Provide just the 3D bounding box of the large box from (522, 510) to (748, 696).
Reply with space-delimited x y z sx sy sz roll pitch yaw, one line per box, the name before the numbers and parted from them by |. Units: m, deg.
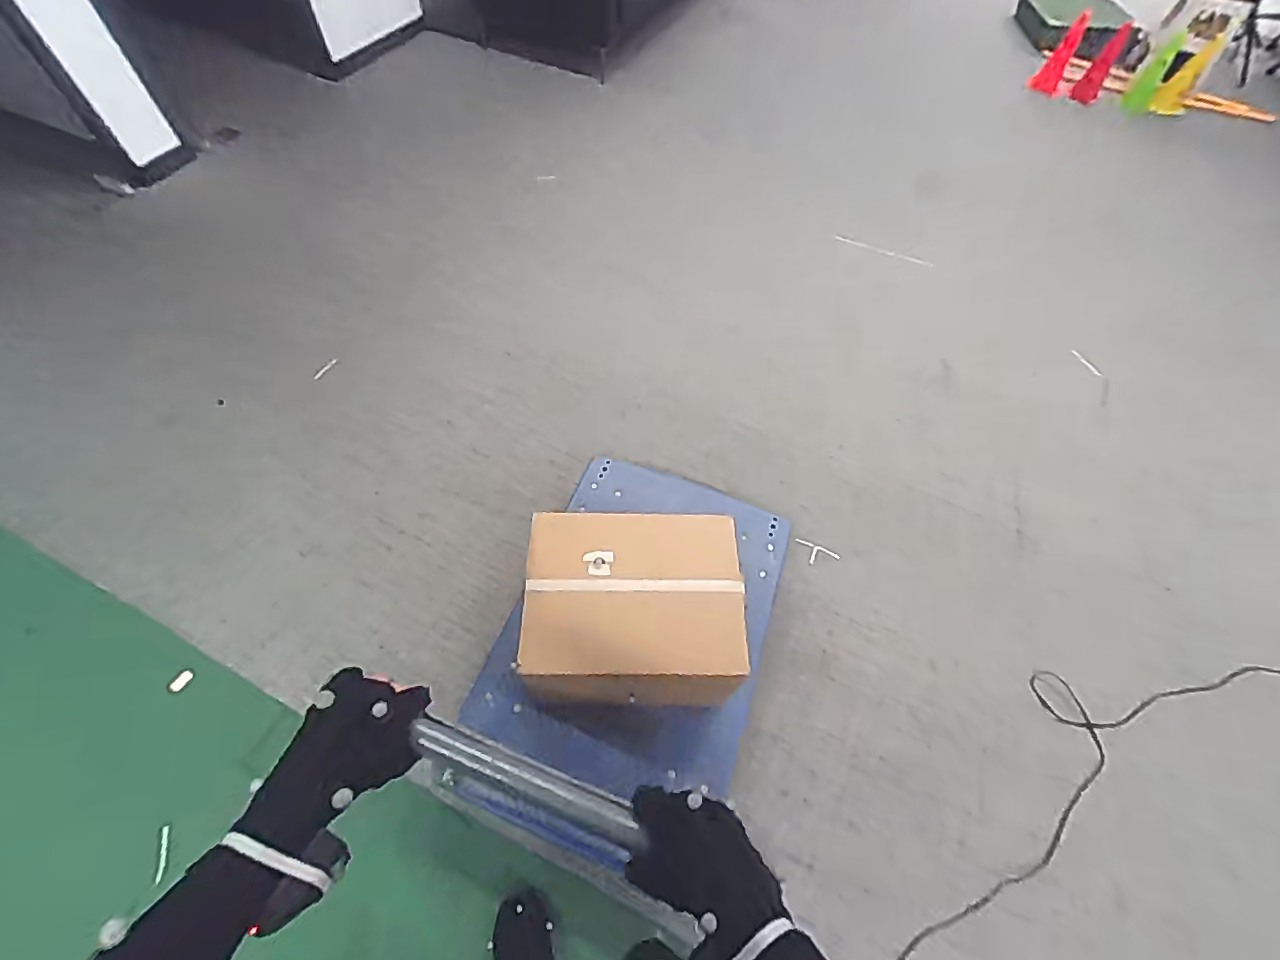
large box | -0.013 0.269 1.144 0.408 0.320 0.320 0 58 -2
